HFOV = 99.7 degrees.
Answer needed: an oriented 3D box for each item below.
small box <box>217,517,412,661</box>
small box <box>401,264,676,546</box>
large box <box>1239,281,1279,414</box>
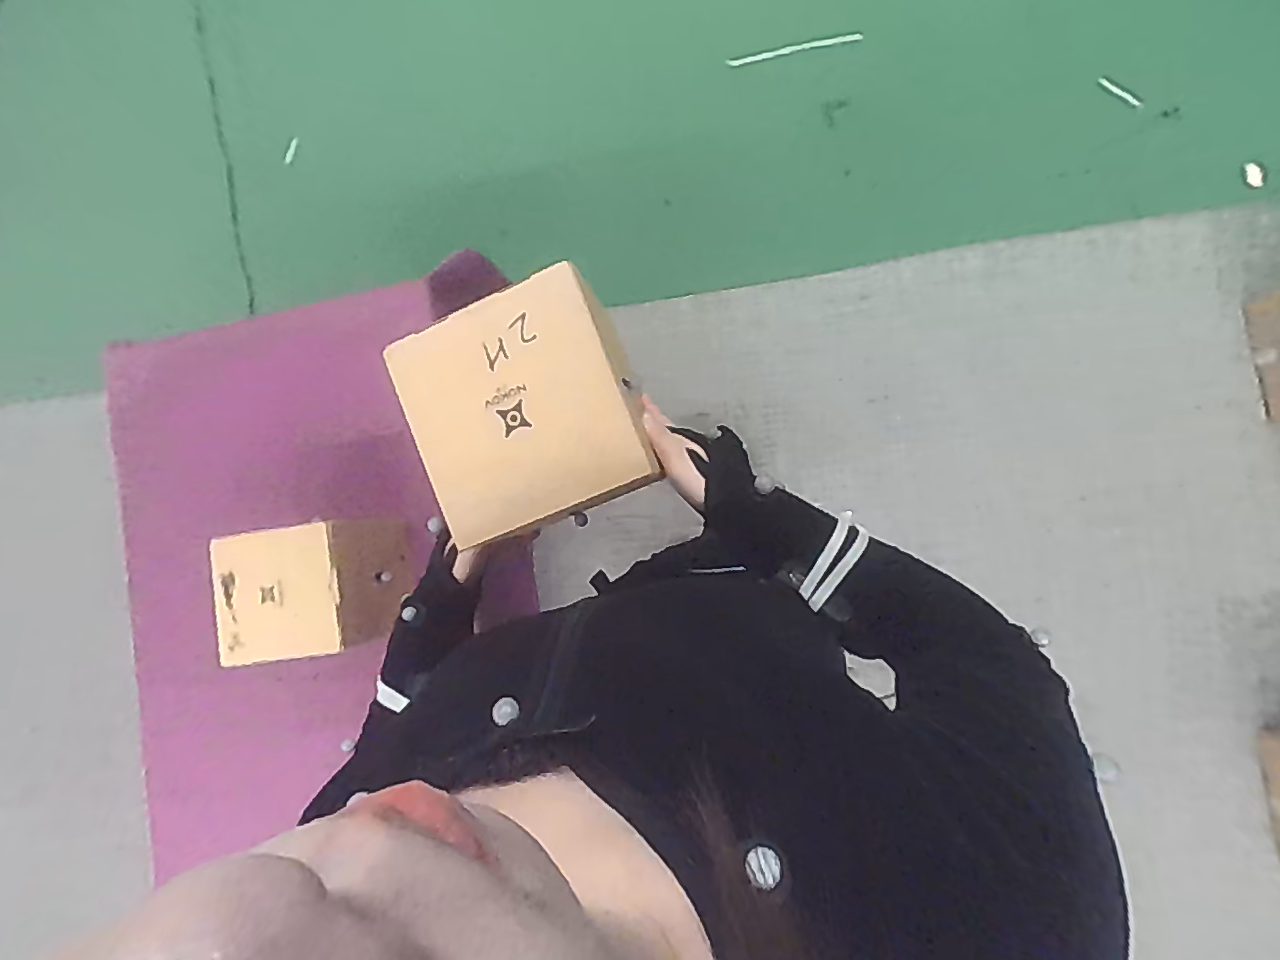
[{"bbox_3d":[-0.445,0.145,0.769,0.179,0.176,0.168,-9,86,8],"label":"small box"},{"bbox_3d":[-0.073,-0.058,0.492,0.168,0.176,0.179,-21,88,8],"label":"small box"},{"bbox_3d":[1.666,-0.345,1.149,0.408,0.320,0.320,-8,86,7],"label":"large box"}]
